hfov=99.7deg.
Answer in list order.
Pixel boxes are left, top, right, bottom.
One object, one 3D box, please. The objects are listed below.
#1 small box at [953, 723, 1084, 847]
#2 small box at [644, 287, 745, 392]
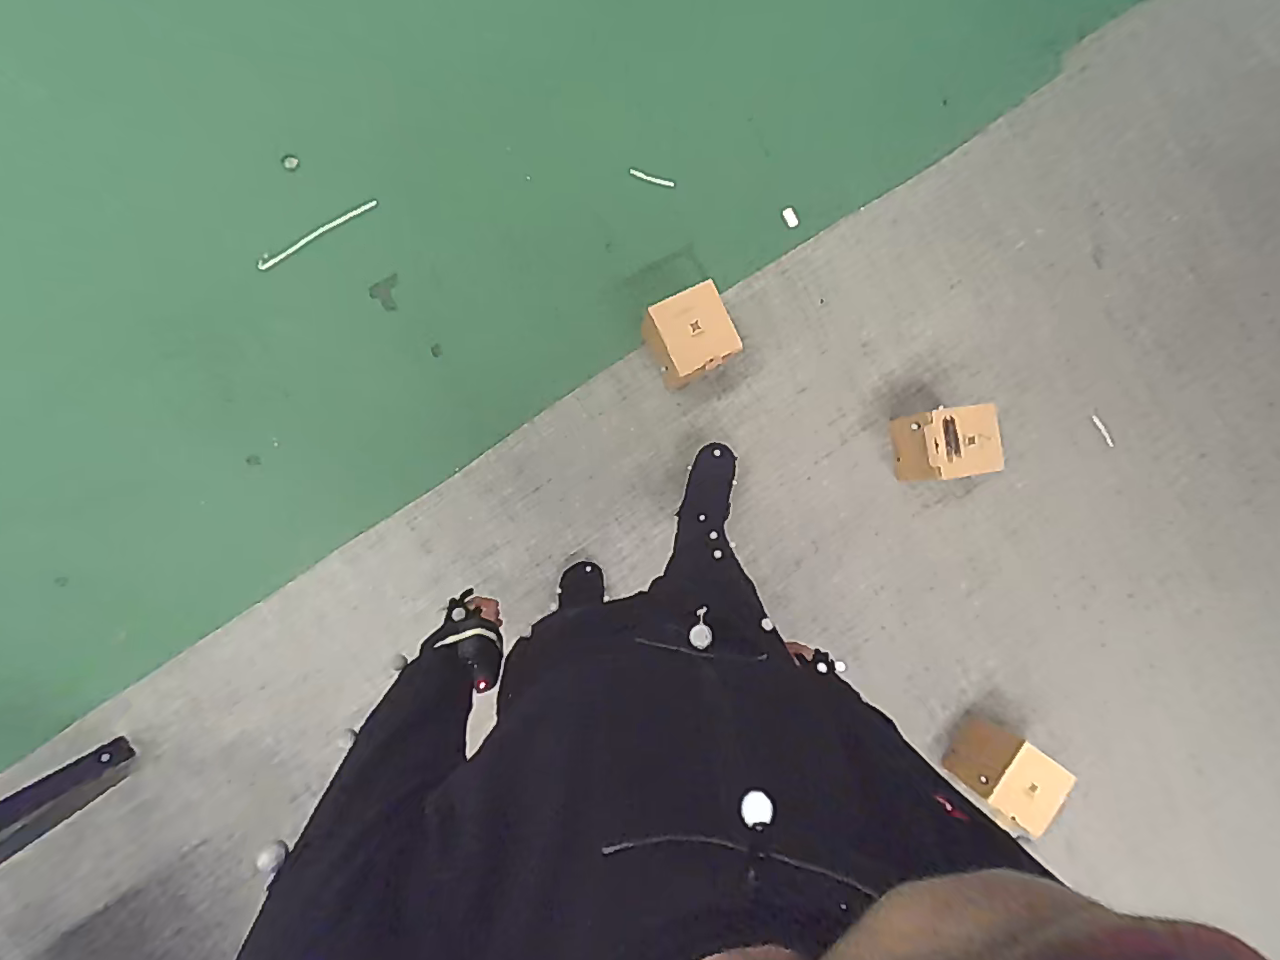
[{"bbox_3d":[0.927,0.744,1.343,0.168,0.176,0.179,36,87,-3],"label":"small box"},{"bbox_3d":[0.123,-0.325,1.298,0.168,0.176,0.179,-27,90,-7],"label":"small box"}]
